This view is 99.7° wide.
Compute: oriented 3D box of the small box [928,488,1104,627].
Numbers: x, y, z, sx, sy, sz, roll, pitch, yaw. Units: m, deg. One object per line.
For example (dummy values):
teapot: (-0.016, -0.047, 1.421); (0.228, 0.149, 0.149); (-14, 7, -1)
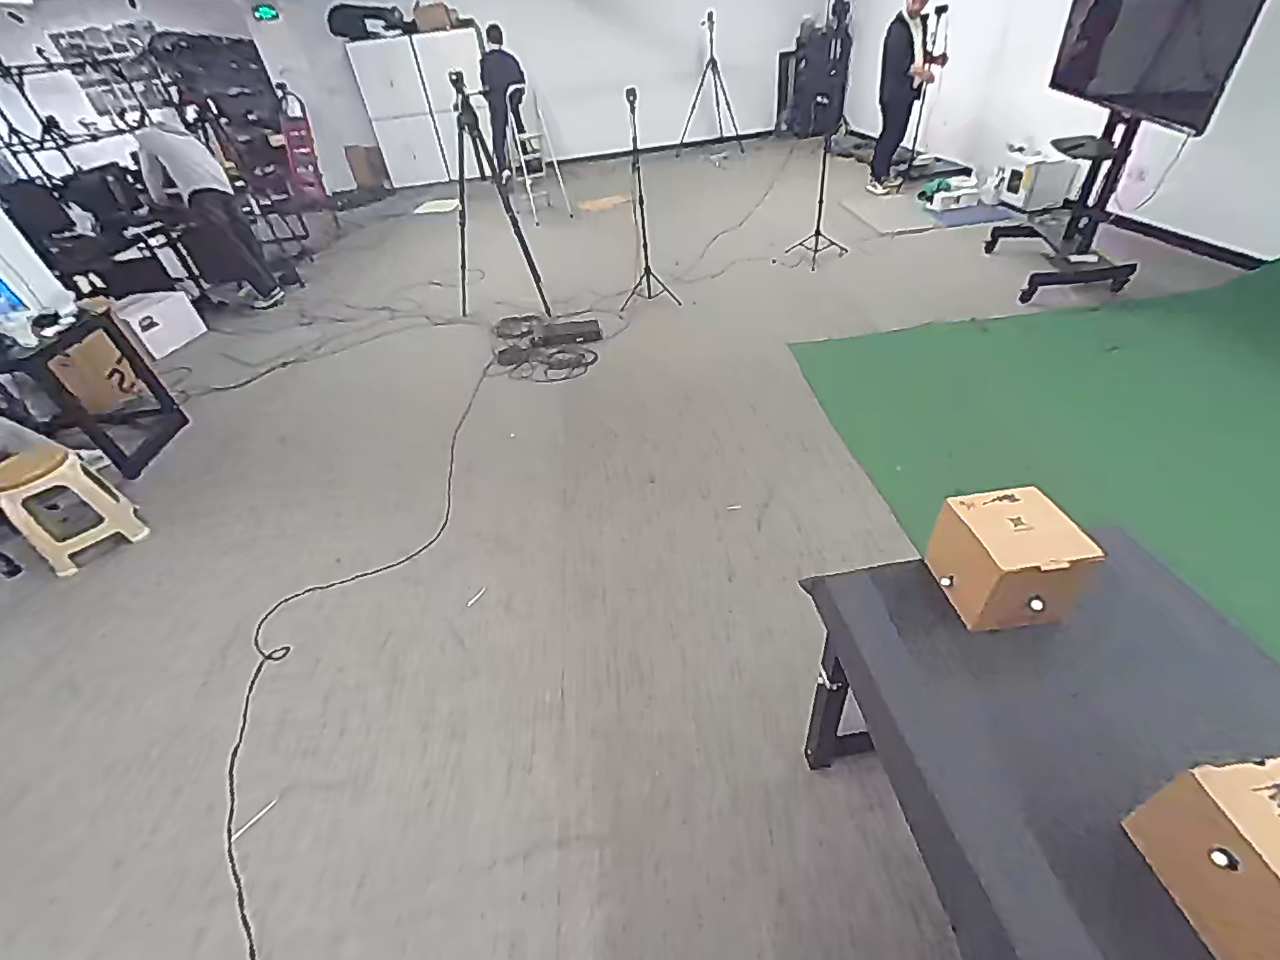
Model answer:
small box: (0.640, 0.141, 0.948); (0.168, 0.176, 0.179); (-7, 40, 0)

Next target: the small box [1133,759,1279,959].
small box: (0.709, 0.431, 0.587); (0.168, 0.176, 0.179); (-9, 40, 0)
